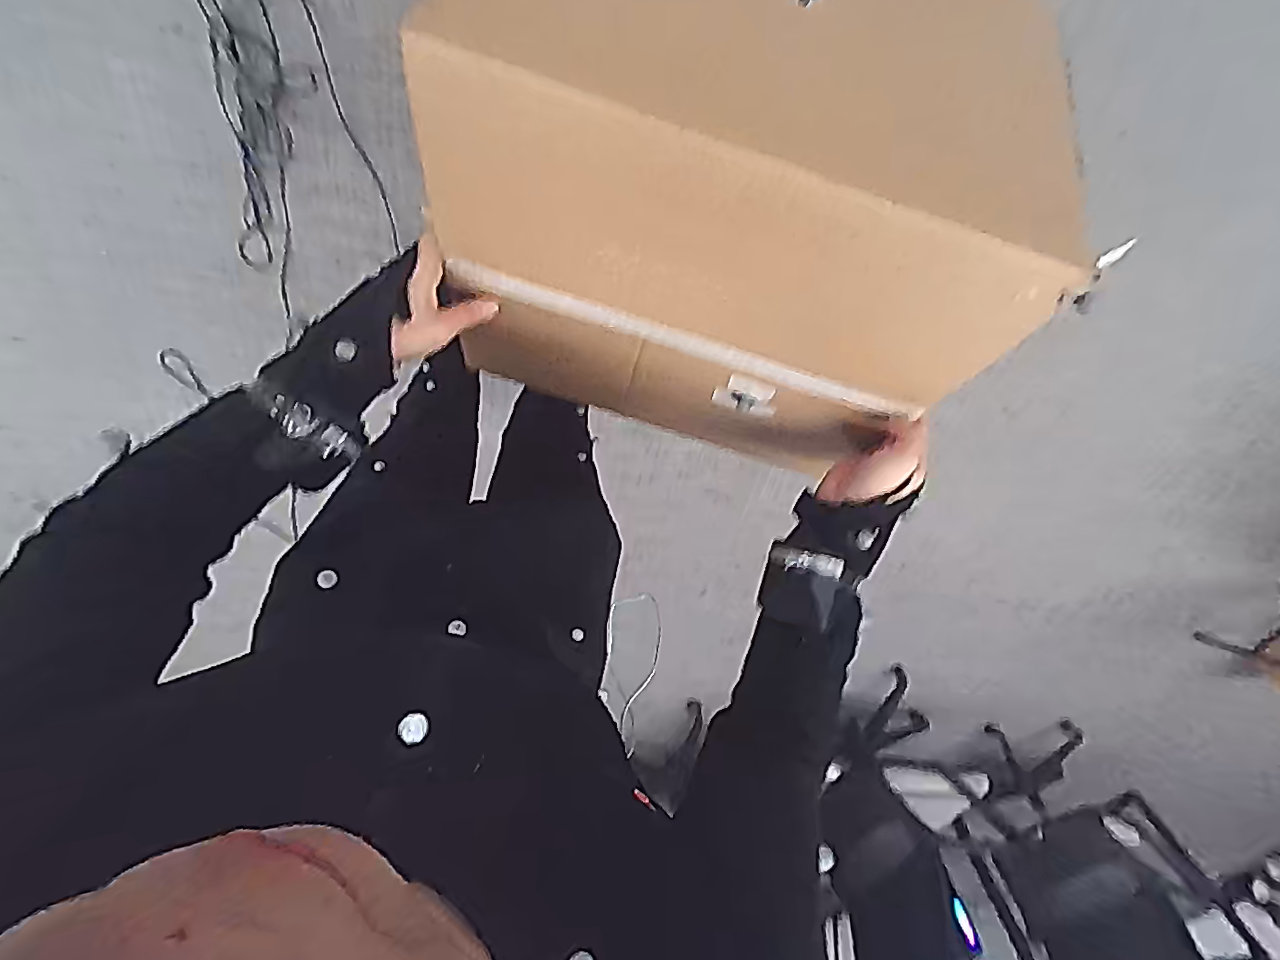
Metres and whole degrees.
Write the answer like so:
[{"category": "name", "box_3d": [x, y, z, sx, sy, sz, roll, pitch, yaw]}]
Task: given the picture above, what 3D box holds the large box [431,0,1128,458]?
[{"category": "large box", "box_3d": [0.088, -0.266, 0.485, 0.408, 0.320, 0.320, 16, 156, -4]}]
